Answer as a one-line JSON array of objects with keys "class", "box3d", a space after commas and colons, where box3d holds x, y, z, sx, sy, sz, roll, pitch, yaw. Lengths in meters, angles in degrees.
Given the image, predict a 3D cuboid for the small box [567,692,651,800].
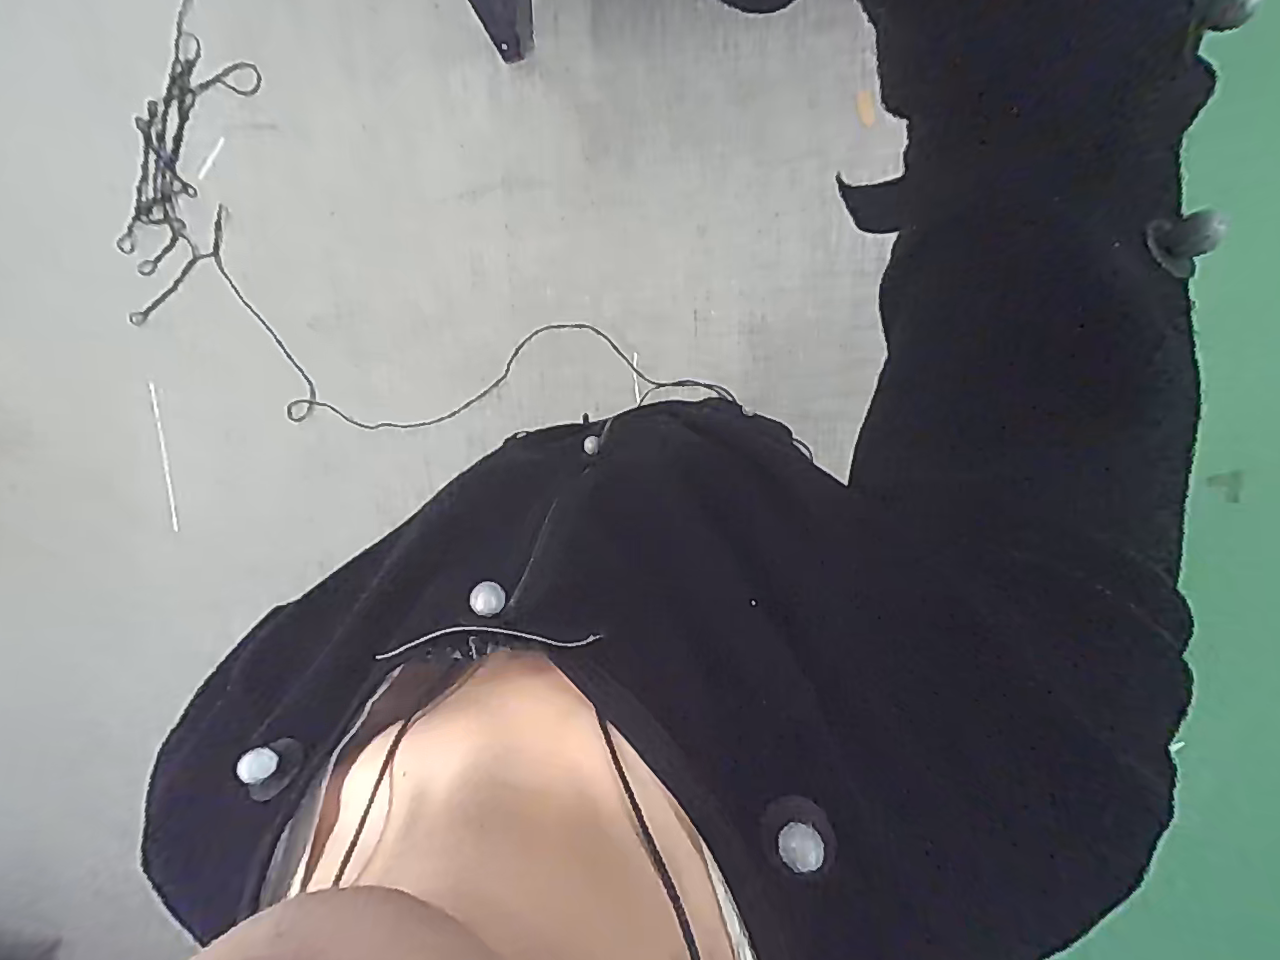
[{"class": "small box", "box3d": [-0.068, 0.638, 1.307, 0.168, 0.176, 0.179, -6, 95, 8]}]
